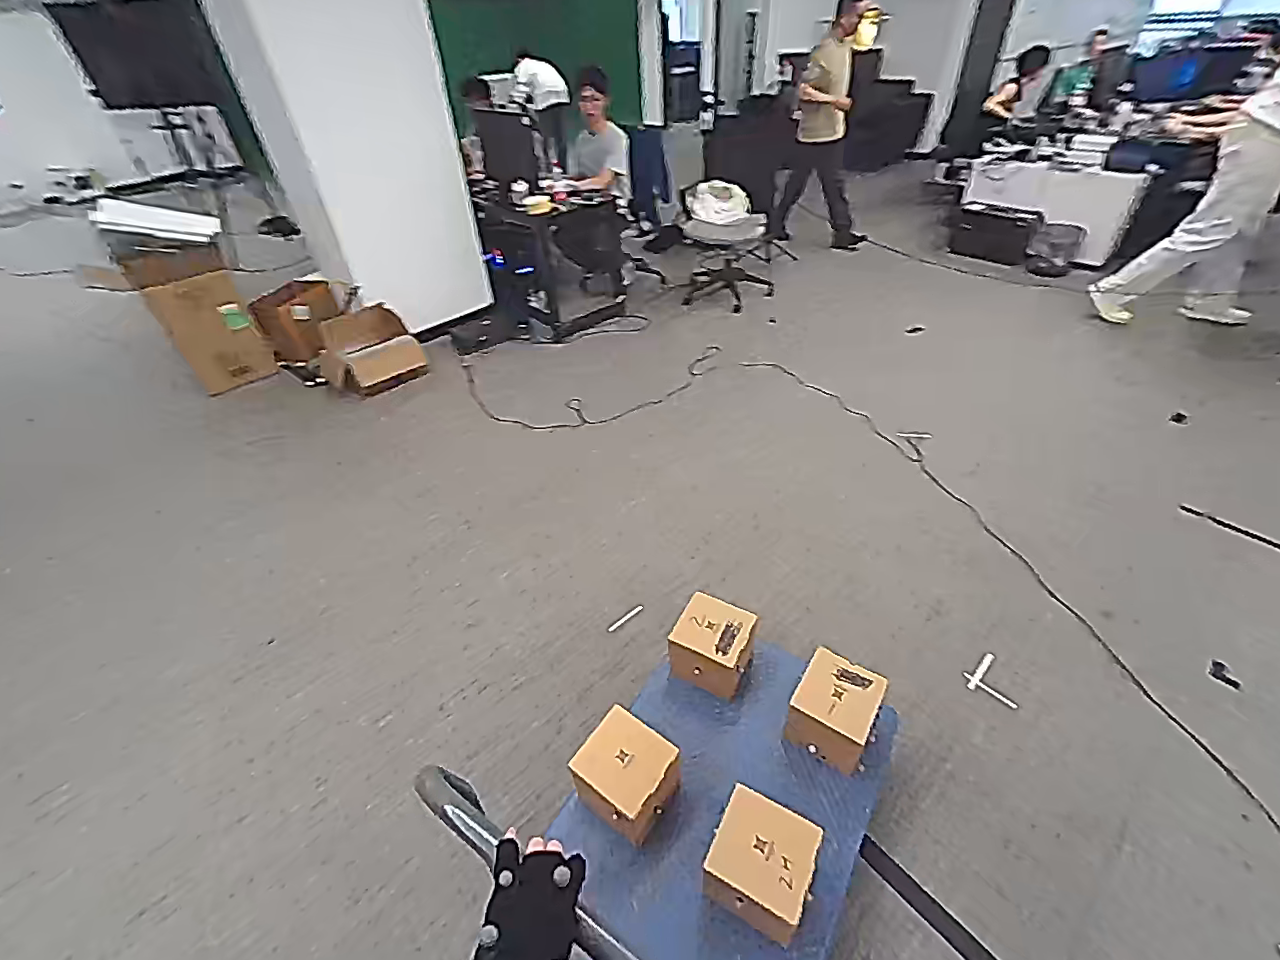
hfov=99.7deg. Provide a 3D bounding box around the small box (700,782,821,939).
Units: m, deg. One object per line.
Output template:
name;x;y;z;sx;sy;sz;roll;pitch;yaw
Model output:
small box;0.227;0.733;1.039;0.179;0.176;0.168;19;46;25

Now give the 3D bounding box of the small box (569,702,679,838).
small box;-0.031;0.634;1.178;0.179;0.176;0.168;26;48;28

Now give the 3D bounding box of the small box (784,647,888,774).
small box;0.448;0.534;1.253;0.168;0.176;0.179;24;49;28
